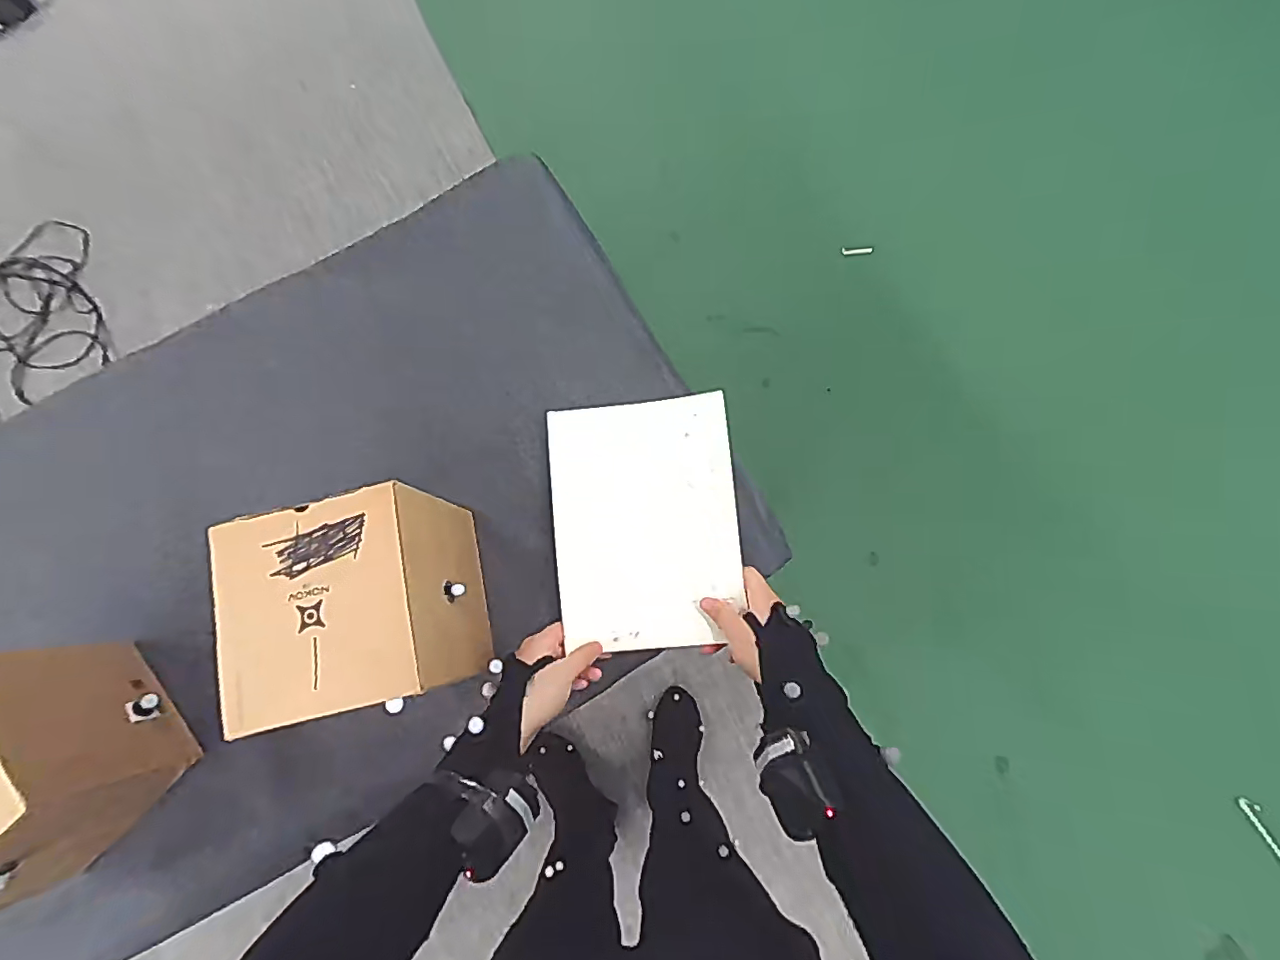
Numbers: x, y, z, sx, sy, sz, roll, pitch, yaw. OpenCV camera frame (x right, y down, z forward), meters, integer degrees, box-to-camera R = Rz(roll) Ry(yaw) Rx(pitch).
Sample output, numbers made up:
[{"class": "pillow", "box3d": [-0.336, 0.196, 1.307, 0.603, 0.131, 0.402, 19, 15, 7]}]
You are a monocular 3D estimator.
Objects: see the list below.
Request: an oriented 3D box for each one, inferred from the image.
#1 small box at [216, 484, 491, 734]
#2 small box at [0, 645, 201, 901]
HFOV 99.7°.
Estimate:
[{"class": "small box", "box3d": [-0.261, 0.120, 0.524, 0.168, 0.176, 0.179, -14, 78, 3]}, {"class": "small box", "box3d": [-0.596, 0.284, 0.523, 0.168, 0.176, 0.179, 44, 84, 11]}]
